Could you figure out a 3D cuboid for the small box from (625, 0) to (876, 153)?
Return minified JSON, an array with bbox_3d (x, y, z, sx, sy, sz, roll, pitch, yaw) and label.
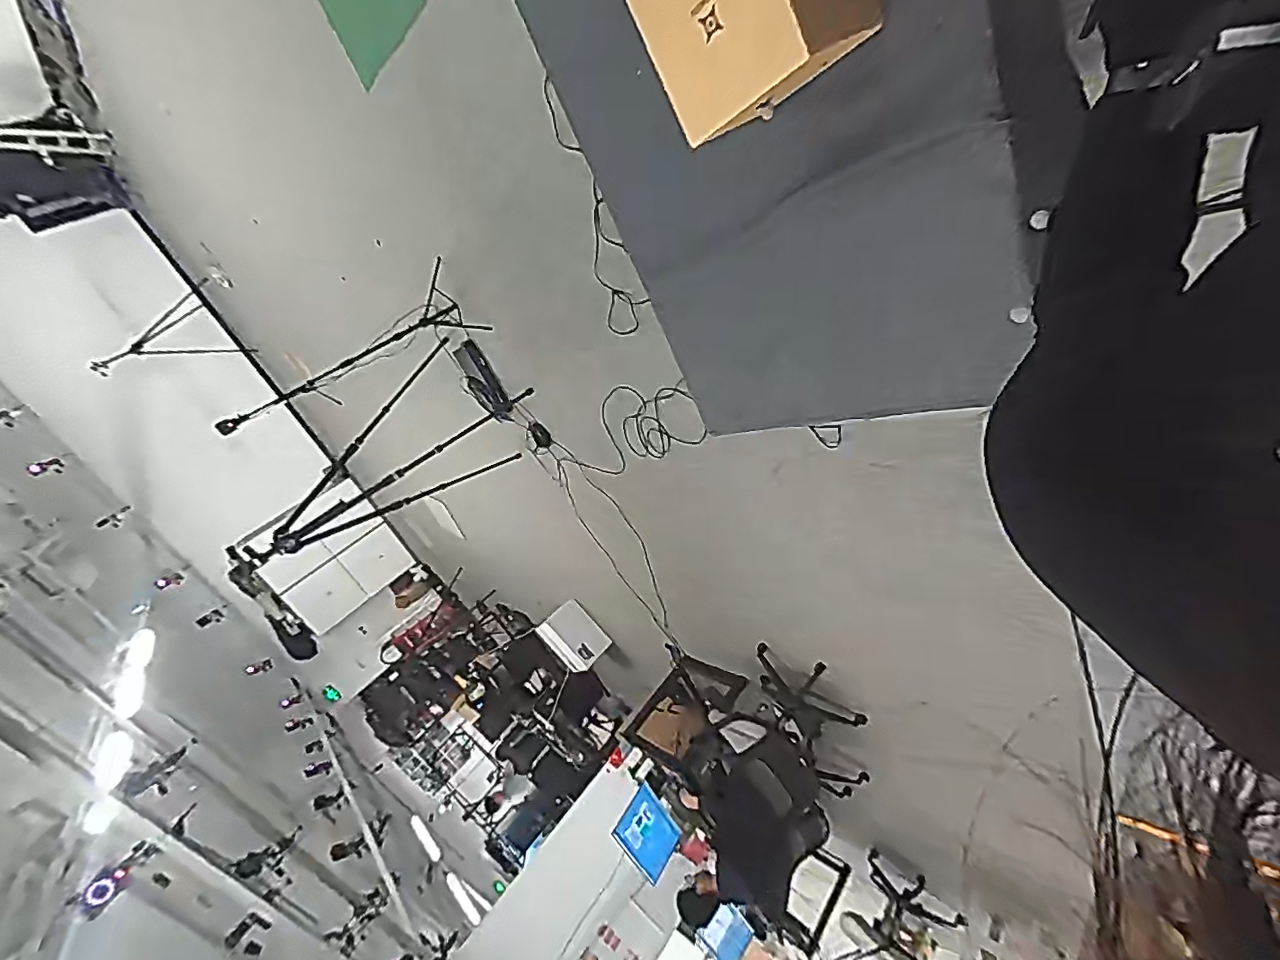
[{"bbox_3d":[0.123,-0.501,0.581,0.168,0.176,0.179,-3,124,53],"label":"small box"}]
